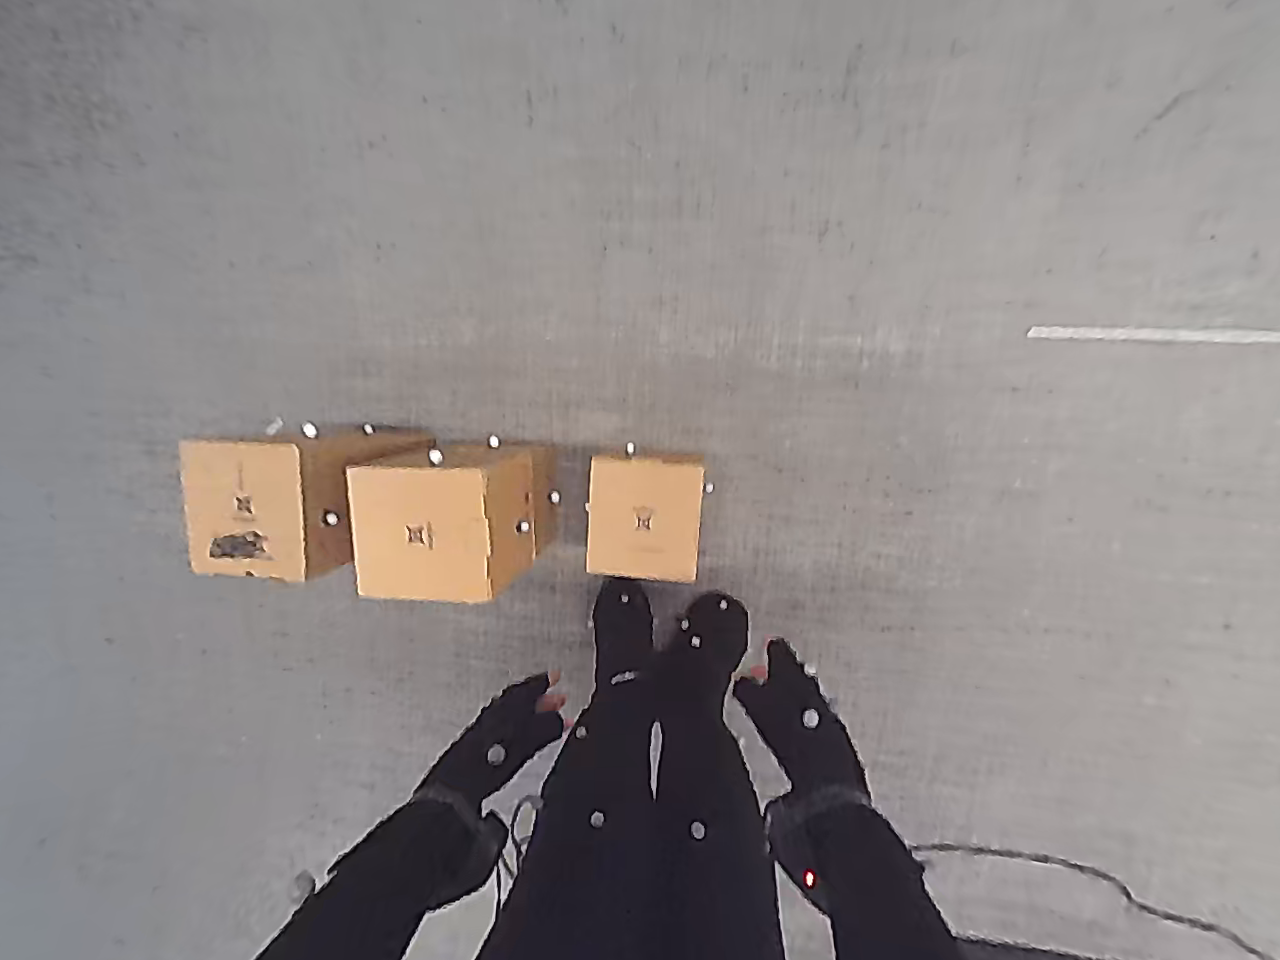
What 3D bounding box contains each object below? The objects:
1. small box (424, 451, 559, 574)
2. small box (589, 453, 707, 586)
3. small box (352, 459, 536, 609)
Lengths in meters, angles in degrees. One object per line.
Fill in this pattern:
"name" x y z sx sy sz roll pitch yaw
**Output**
"small box" -0.237 0.044 0.892 0.168 0.176 0.179 2 98 8
"small box" 0.018 0.053 0.863 0.168 0.176 0.179 4 99 7
"small box" -0.252 0.063 0.731 0.179 0.176 0.168 0 99 7
